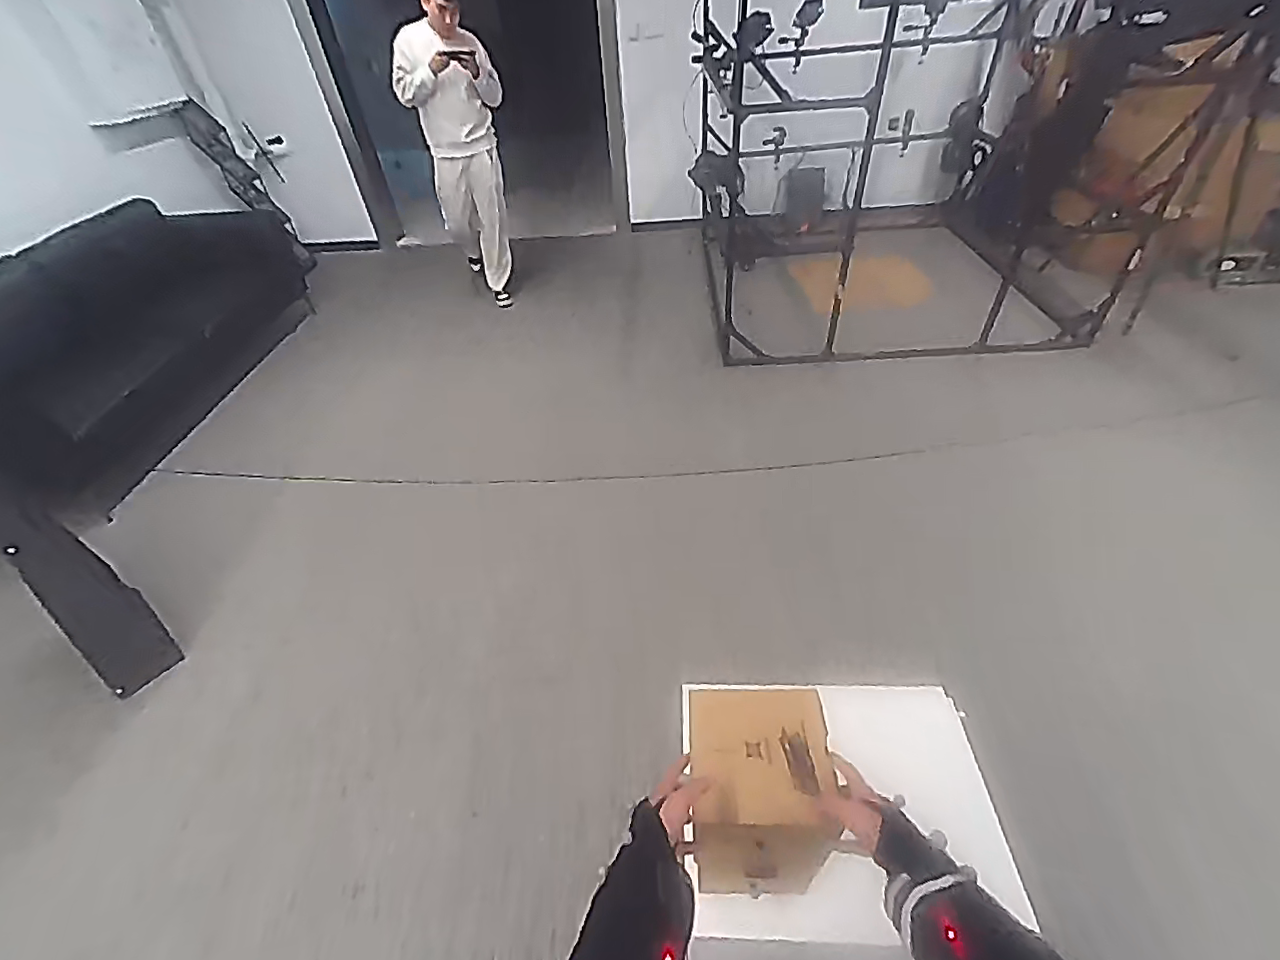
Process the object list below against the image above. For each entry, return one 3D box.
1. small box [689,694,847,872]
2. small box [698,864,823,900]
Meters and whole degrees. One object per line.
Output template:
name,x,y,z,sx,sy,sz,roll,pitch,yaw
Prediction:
small box,0.154,0.402,0.719,0.179,0.176,0.168,-3,42,5
small box,0.170,0.519,0.834,0.168,0.176,0.179,-3,42,4
